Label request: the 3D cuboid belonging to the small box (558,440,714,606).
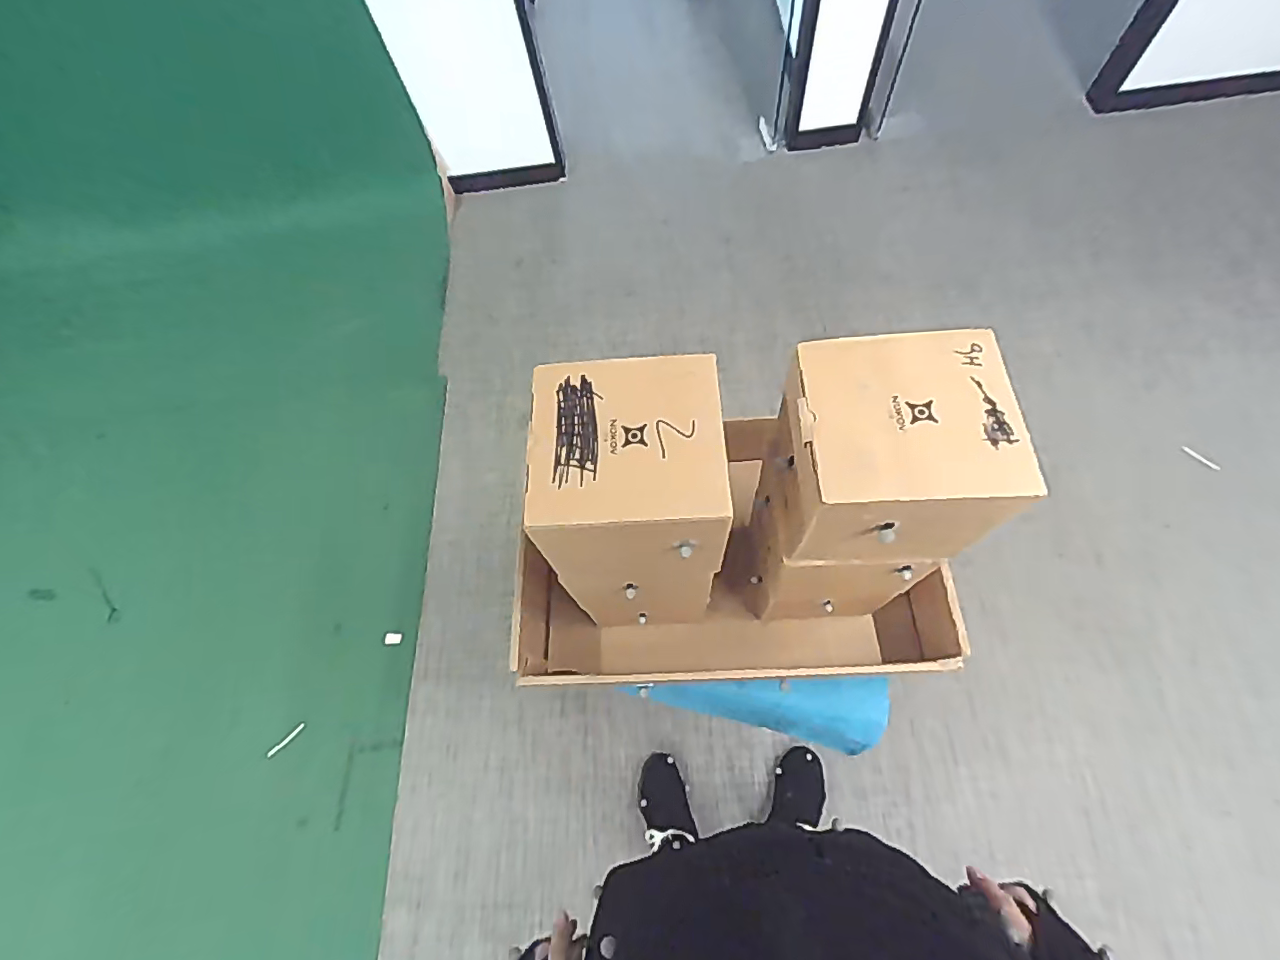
[{"bbox_3d":[0.000,0.064,0.697,0.179,0.176,0.168,-3,66,3],"label":"small box"}]
